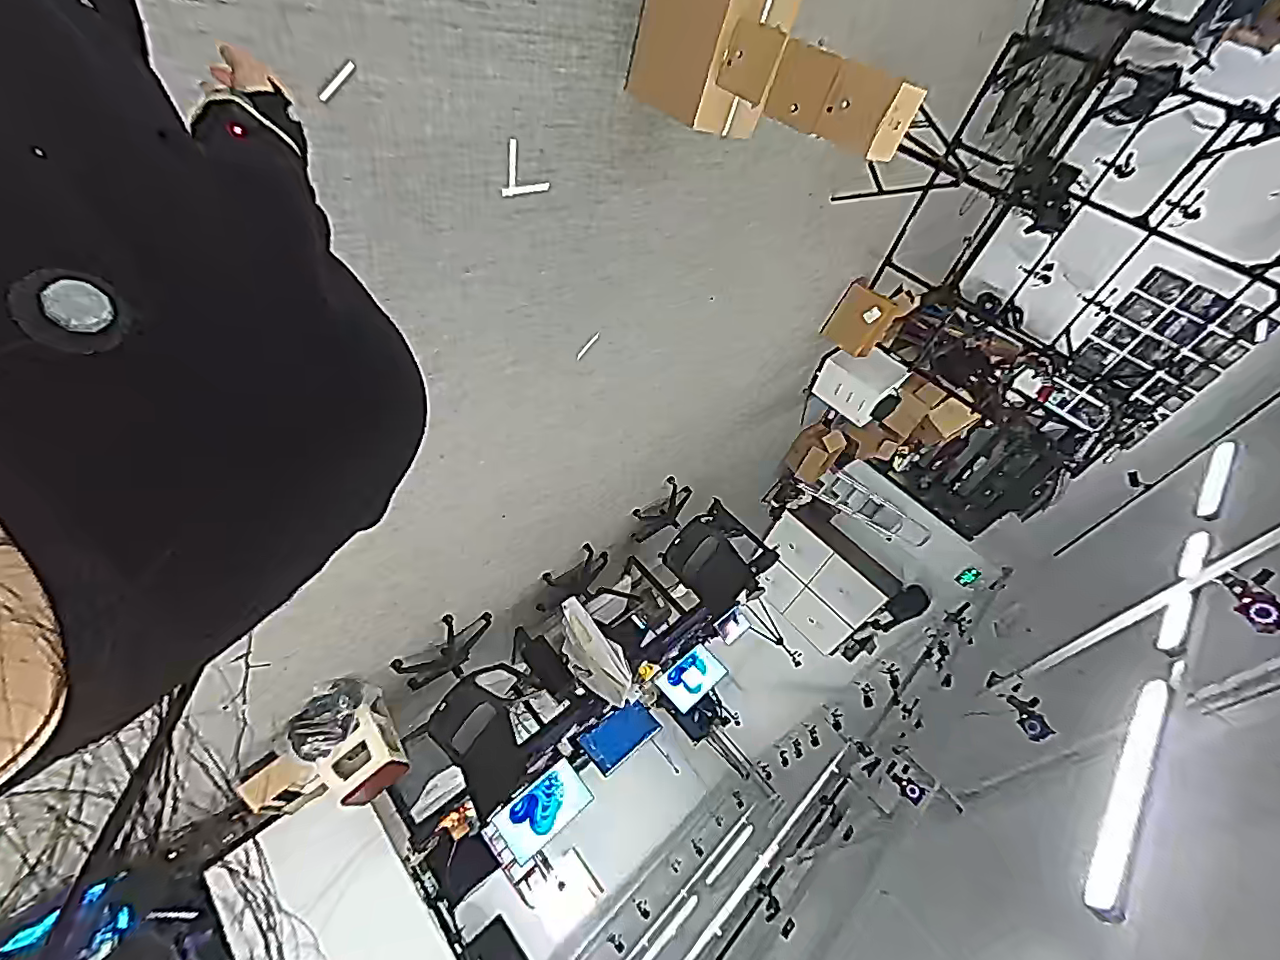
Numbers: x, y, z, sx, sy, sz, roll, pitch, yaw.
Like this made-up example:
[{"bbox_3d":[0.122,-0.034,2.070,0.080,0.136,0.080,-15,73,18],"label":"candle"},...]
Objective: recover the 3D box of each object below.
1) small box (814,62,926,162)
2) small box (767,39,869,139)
[{"bbox_3d":[0.587,-0.942,1.390,0.179,0.176,0.168,-26,149,-41],"label":"small box"},{"bbox_3d":[0.467,-1.040,1.447,0.168,0.176,0.179,-28,150,-39],"label":"small box"}]
